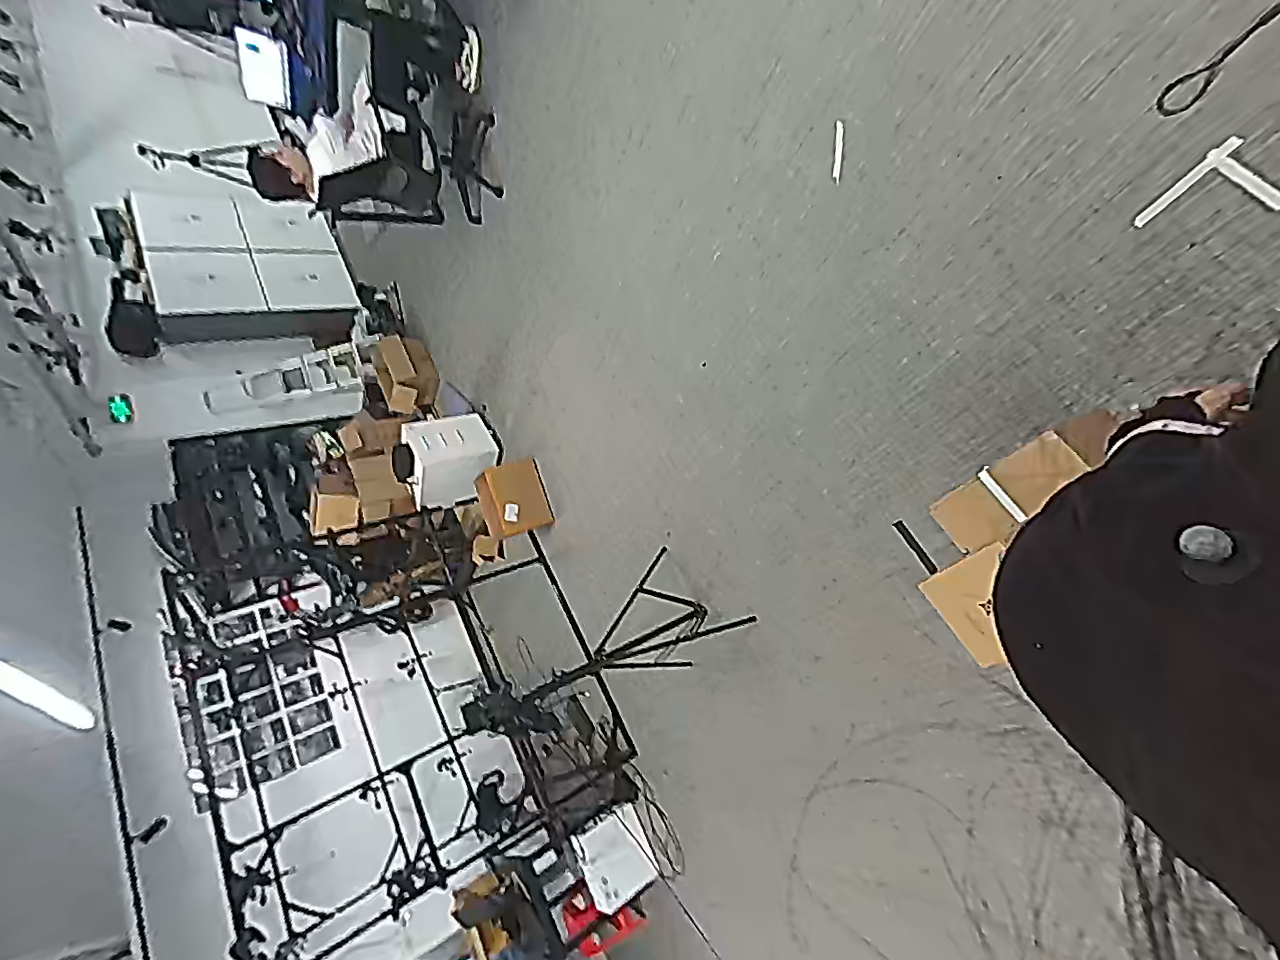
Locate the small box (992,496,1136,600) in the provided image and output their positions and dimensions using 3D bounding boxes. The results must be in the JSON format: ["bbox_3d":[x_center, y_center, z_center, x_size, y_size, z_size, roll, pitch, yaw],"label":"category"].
[{"bbox_3d":[0.766,0.153,1.015,0.168,0.176,0.179,59,142,21],"label":"small box"}]

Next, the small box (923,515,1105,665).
[{"bbox_3d":[0.638,0.182,0.918,0.168,0.176,0.179,59,143,22],"label":"small box"}]
